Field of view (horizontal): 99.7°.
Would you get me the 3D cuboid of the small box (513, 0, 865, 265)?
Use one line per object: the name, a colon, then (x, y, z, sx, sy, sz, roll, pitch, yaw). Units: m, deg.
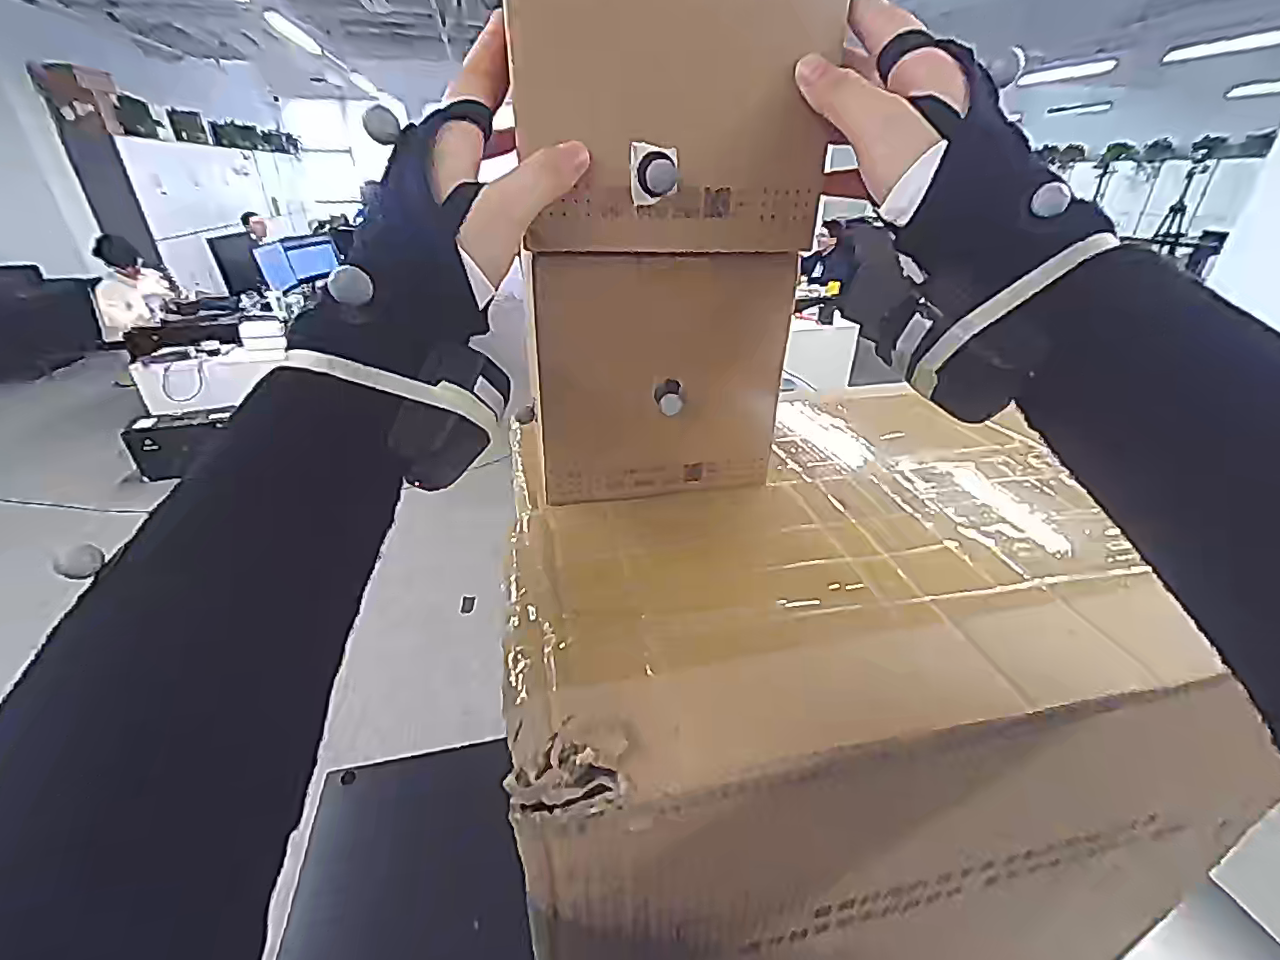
small box: (0.010, -0.232, 0.329, 0.168, 0.176, 0.179, -5, 30, -10)

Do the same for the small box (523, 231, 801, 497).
small box: (0.002, -0.096, 0.421, 0.168, 0.176, 0.179, -5, 30, -12)
